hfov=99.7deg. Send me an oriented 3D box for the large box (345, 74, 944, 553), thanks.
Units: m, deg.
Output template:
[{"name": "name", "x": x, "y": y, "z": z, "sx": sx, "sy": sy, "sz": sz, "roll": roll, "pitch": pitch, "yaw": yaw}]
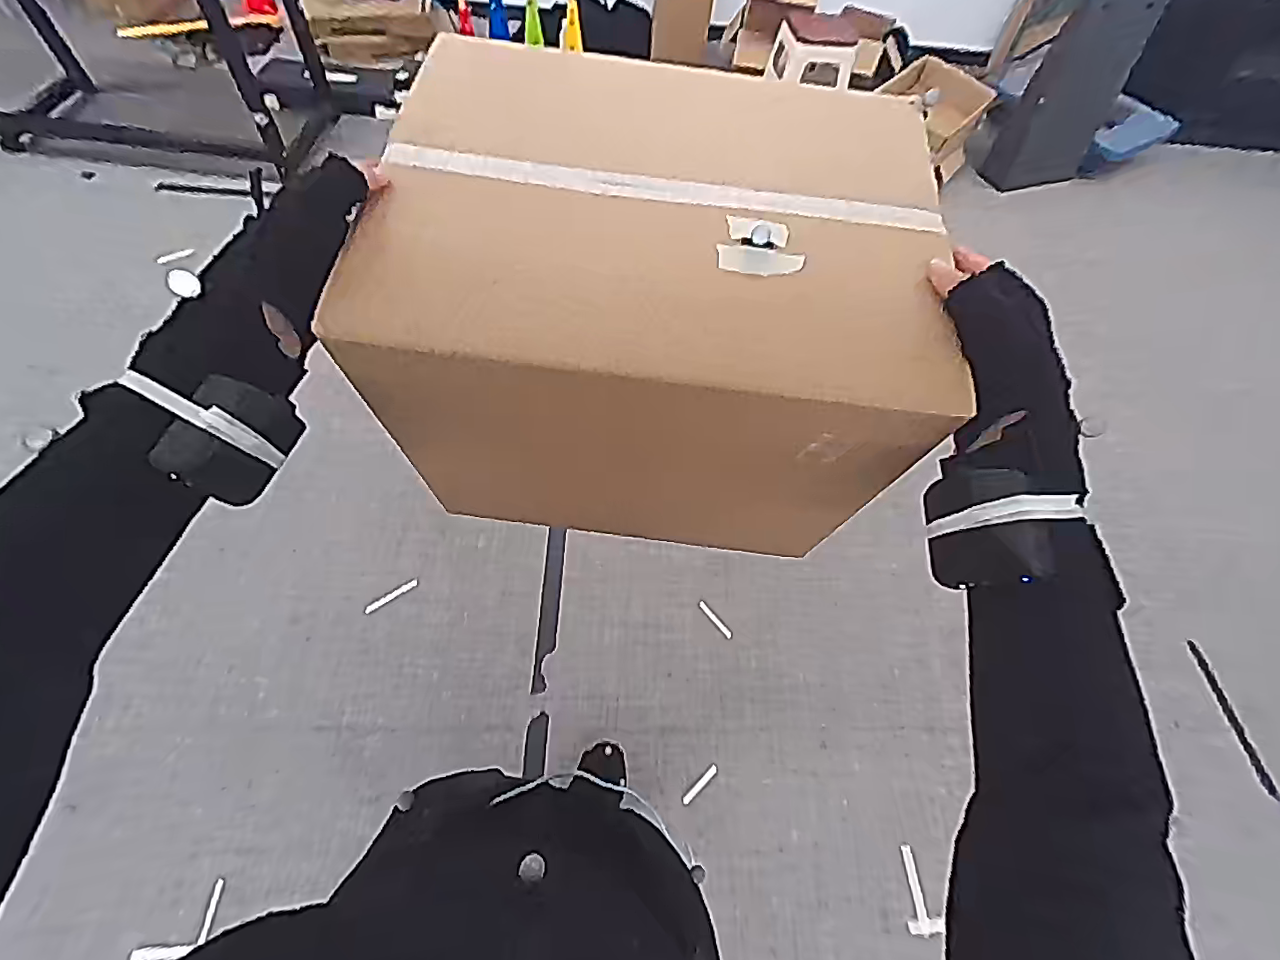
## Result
[{"name": "large box", "x": 0.007, "y": -0.133, "z": 0.547, "sx": 0.408, "sy": 0.320, "sz": 0.320, "roll": 7, "pitch": 66, "yaw": -2}]
